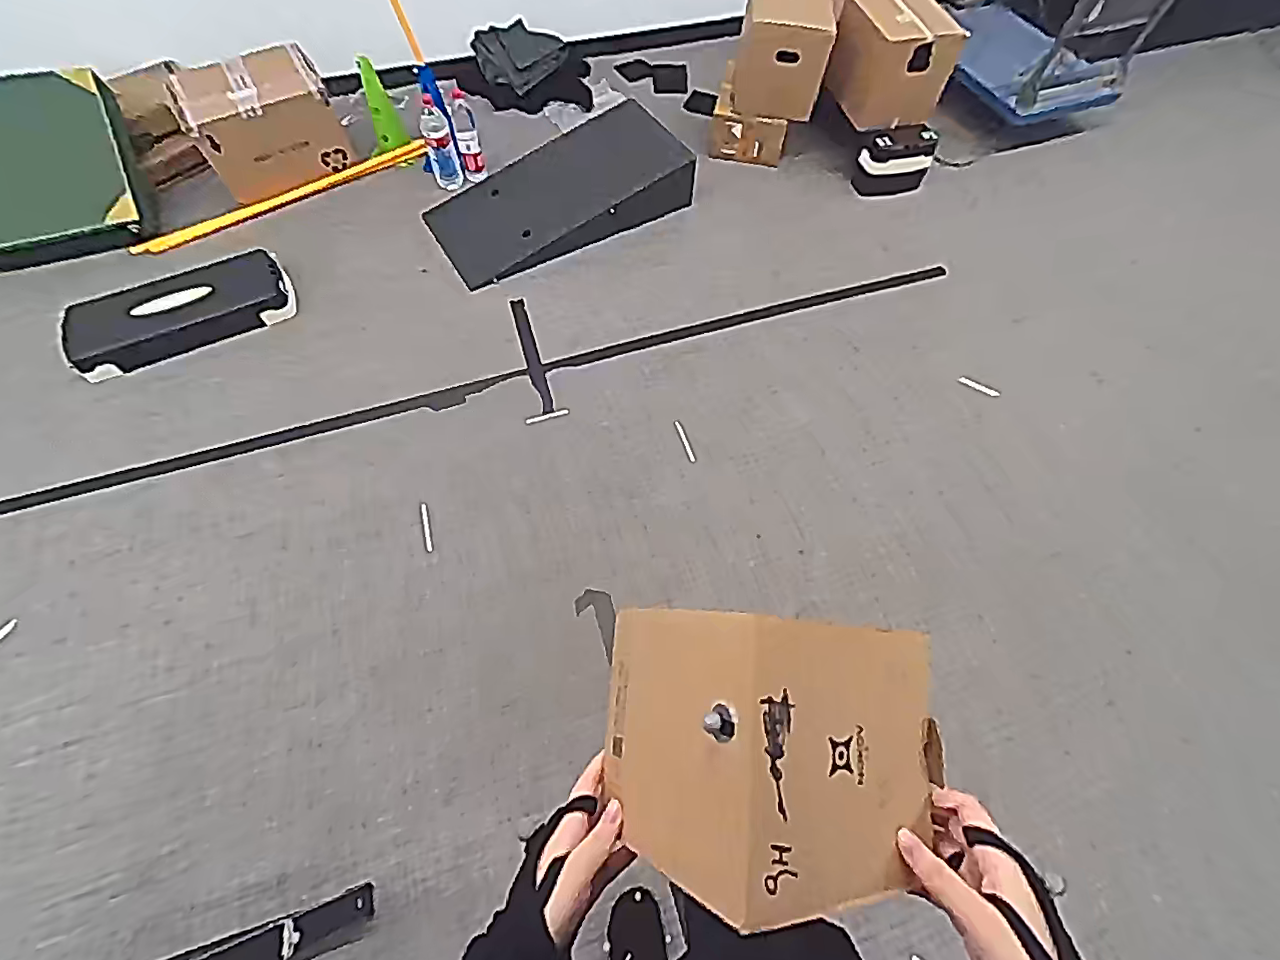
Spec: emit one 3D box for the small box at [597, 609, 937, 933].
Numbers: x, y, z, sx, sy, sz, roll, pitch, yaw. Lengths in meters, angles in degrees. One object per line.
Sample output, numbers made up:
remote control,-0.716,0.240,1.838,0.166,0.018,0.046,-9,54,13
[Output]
small box,0.089,0.189,0.406,0.179,0.176,0.168,15,70,-29
